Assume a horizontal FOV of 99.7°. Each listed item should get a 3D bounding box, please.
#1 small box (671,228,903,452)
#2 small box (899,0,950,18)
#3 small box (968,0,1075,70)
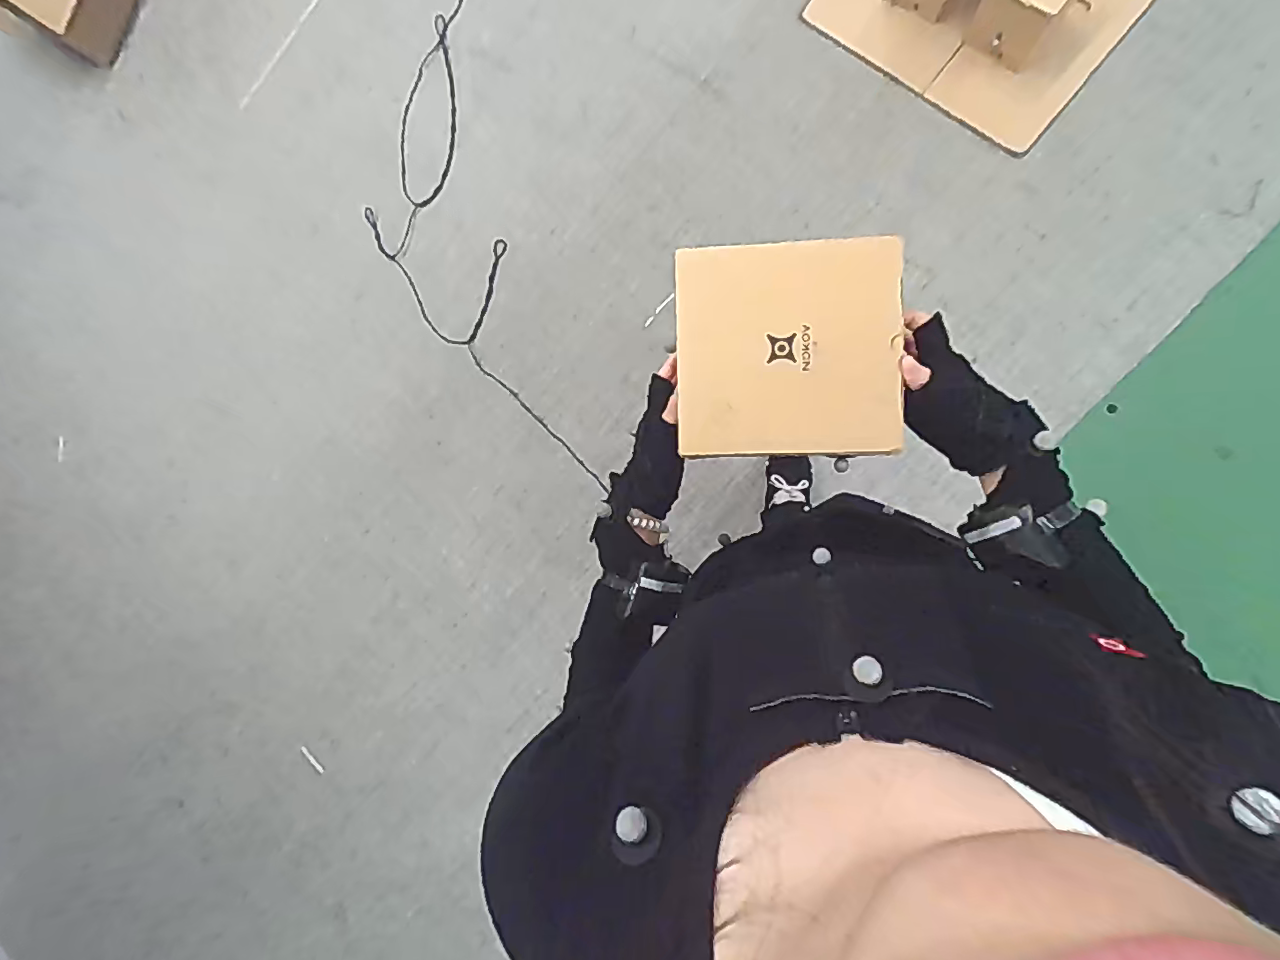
[{"bbox_3d":[0.121,-0.110,0.498,0.179,0.176,0.168,-1,92,6],"label":"small box"},{"bbox_3d":[0.725,-1.288,1.309,0.168,0.176,0.179,36,95,9],"label":"small box"},{"bbox_3d":[0.921,-1.136,1.273,0.168,0.176,0.179,40,97,10],"label":"small box"}]
